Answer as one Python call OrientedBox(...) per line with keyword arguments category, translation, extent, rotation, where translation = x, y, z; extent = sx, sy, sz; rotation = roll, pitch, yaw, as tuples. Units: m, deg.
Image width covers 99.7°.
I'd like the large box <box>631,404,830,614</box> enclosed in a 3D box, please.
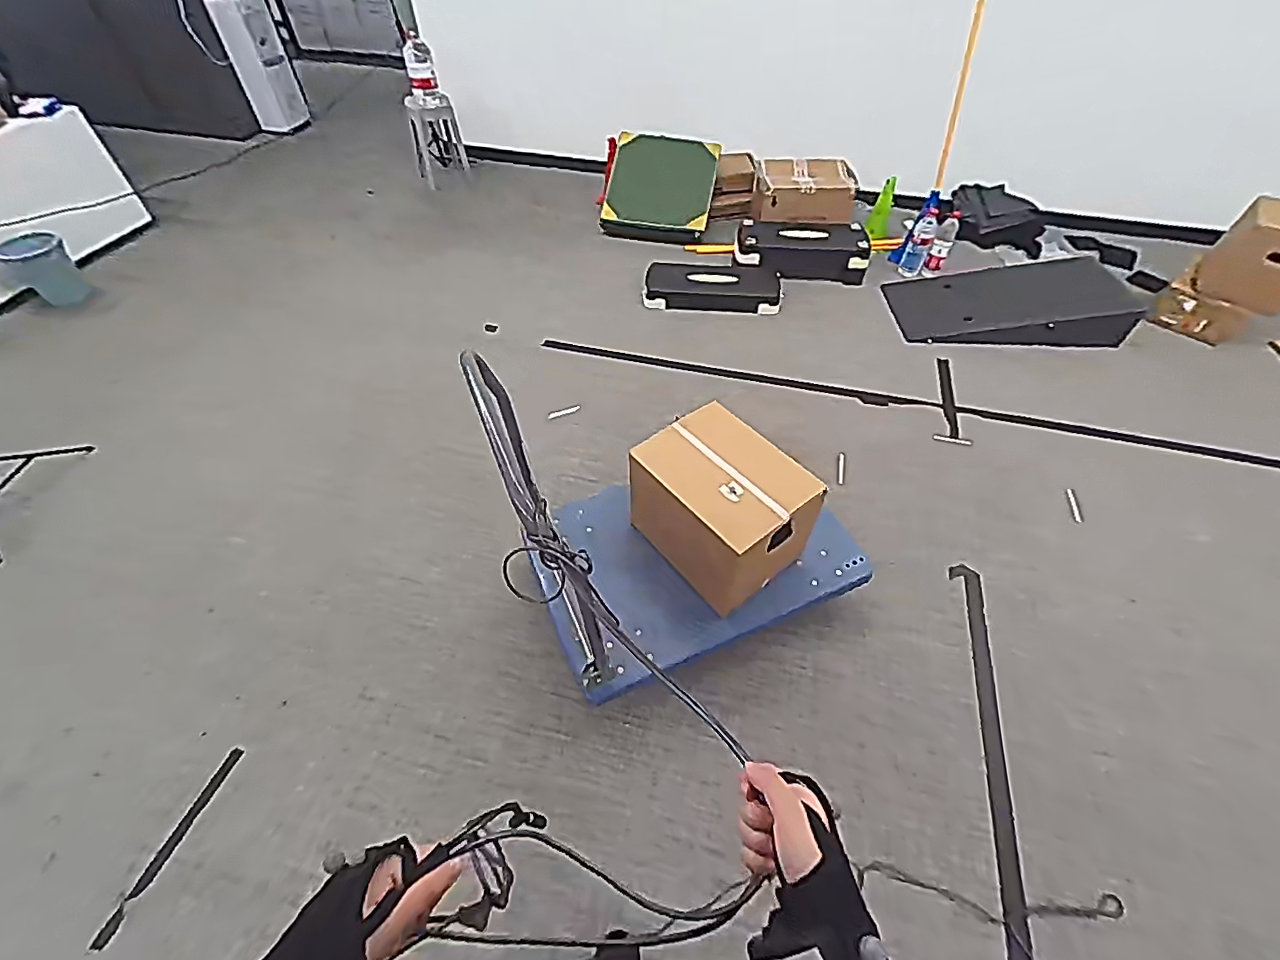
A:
OrientedBox(category="large box", translation=(0.214, 0.072, 1.452), extent=(0.320, 0.320, 0.408), rotation=(-32, 58, -23))
